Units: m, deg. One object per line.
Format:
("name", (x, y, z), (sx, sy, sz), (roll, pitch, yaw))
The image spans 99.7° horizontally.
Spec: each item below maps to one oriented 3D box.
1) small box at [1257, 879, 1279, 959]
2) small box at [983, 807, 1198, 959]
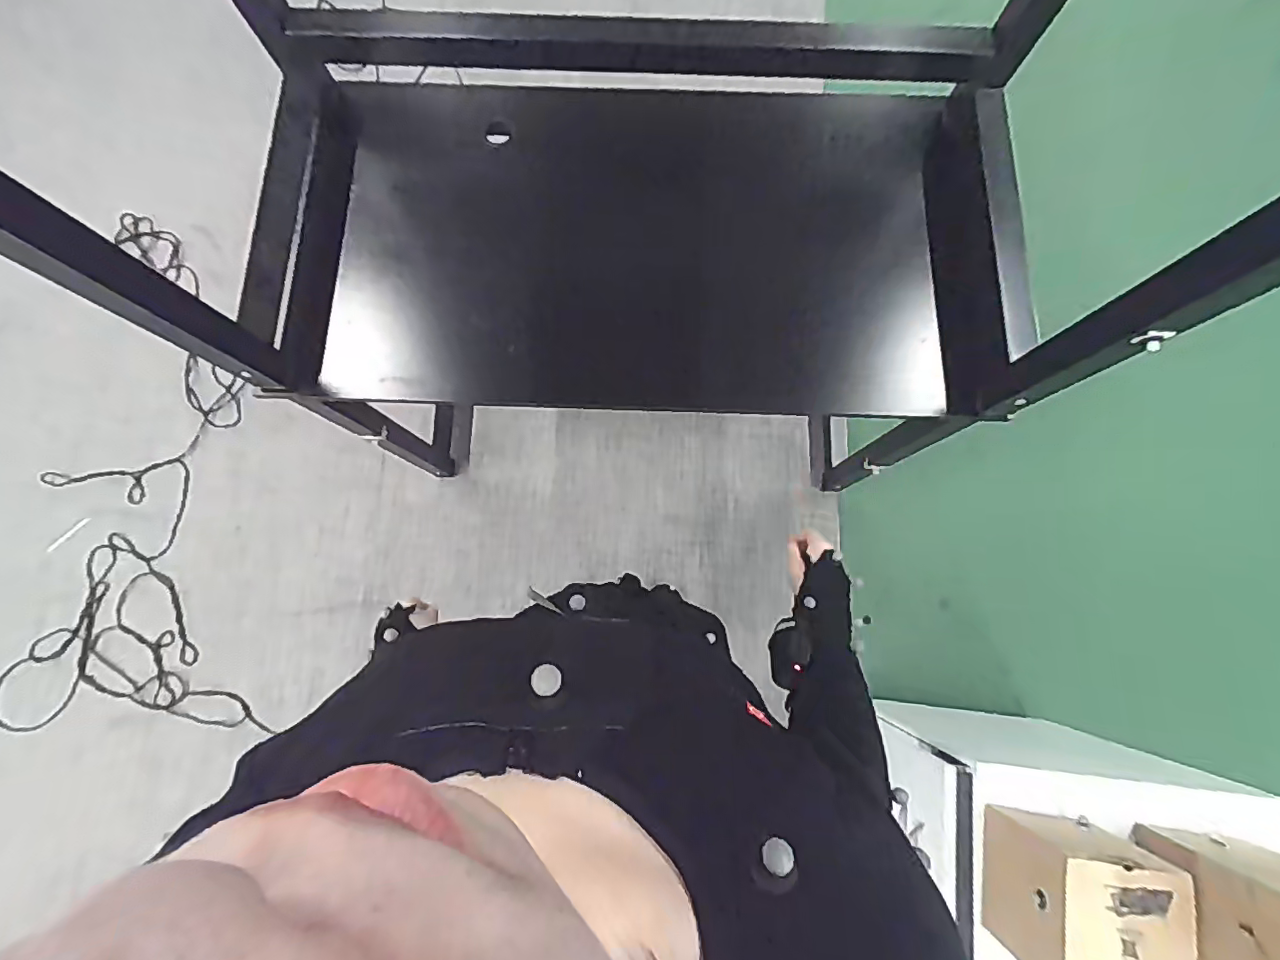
("small box", (0.843, 0.581, 0.590), (0.168, 0.176, 0.179), (10, 80, 2))
("small box", (0.612, 0.589, 0.753), (0.168, 0.176, 0.179), (9, 80, 1))
